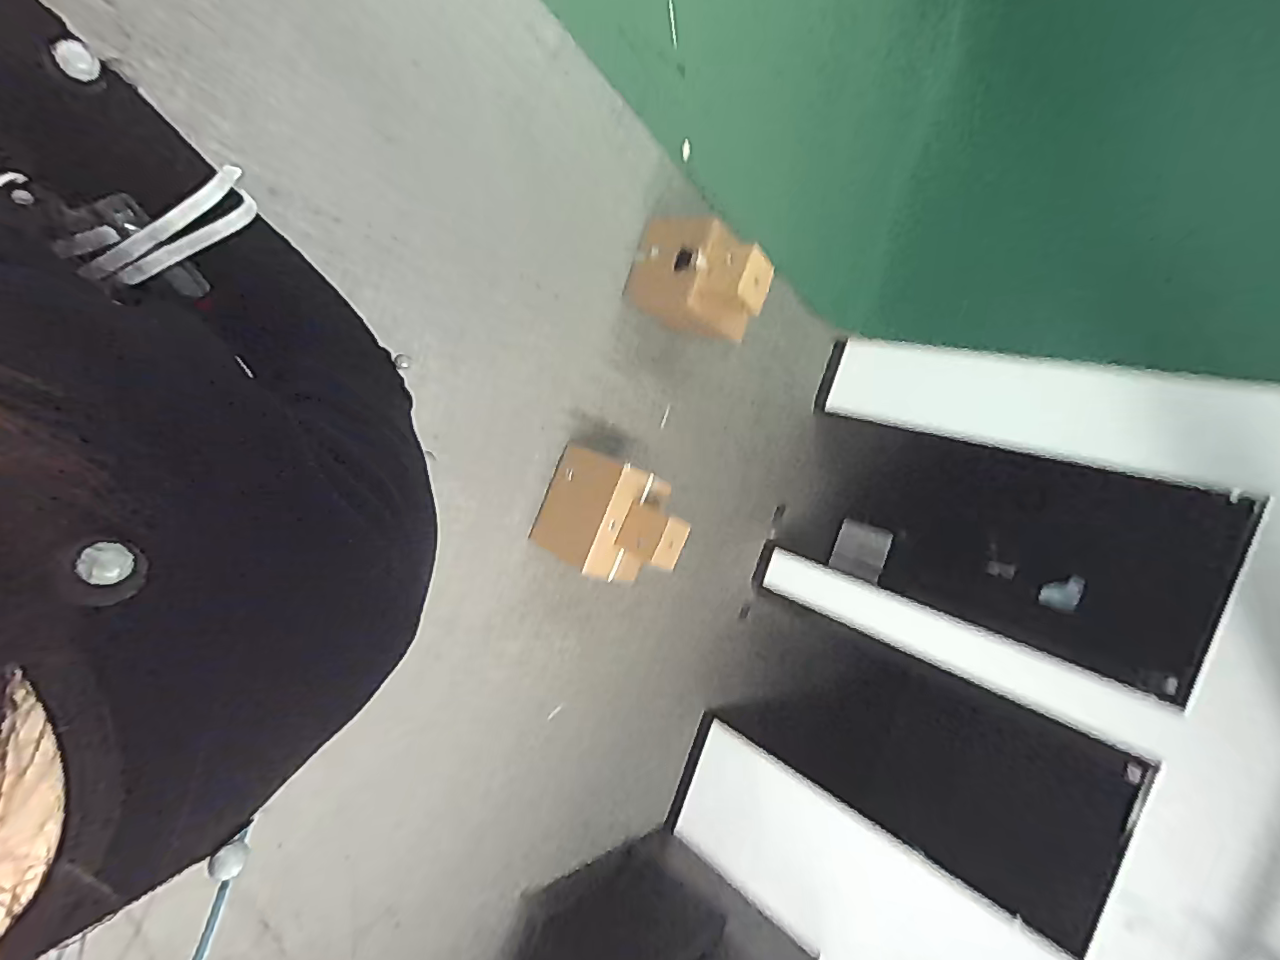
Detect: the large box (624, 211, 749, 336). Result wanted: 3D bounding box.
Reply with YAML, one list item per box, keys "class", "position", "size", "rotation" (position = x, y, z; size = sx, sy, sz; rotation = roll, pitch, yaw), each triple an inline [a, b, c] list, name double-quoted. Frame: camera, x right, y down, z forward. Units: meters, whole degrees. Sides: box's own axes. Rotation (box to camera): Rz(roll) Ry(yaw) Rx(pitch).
- class: "large box"
  position: [0.204, -0.777, 2.071]
  size: [0.408, 0.320, 0.320]
  rotation: [13, 96, -52]

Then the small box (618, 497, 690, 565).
- class: "small box"
  position: [0.045, 0.181, 1.926]
  size: [0.168, 0.176, 0.179]
  rotation: [29, 83, -54]

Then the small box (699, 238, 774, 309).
- class: "small box"
  position: [0.328, -0.707, 1.853]
  size: [0.179, 0.176, 0.168]
  rotation: [19, 93, -53]
